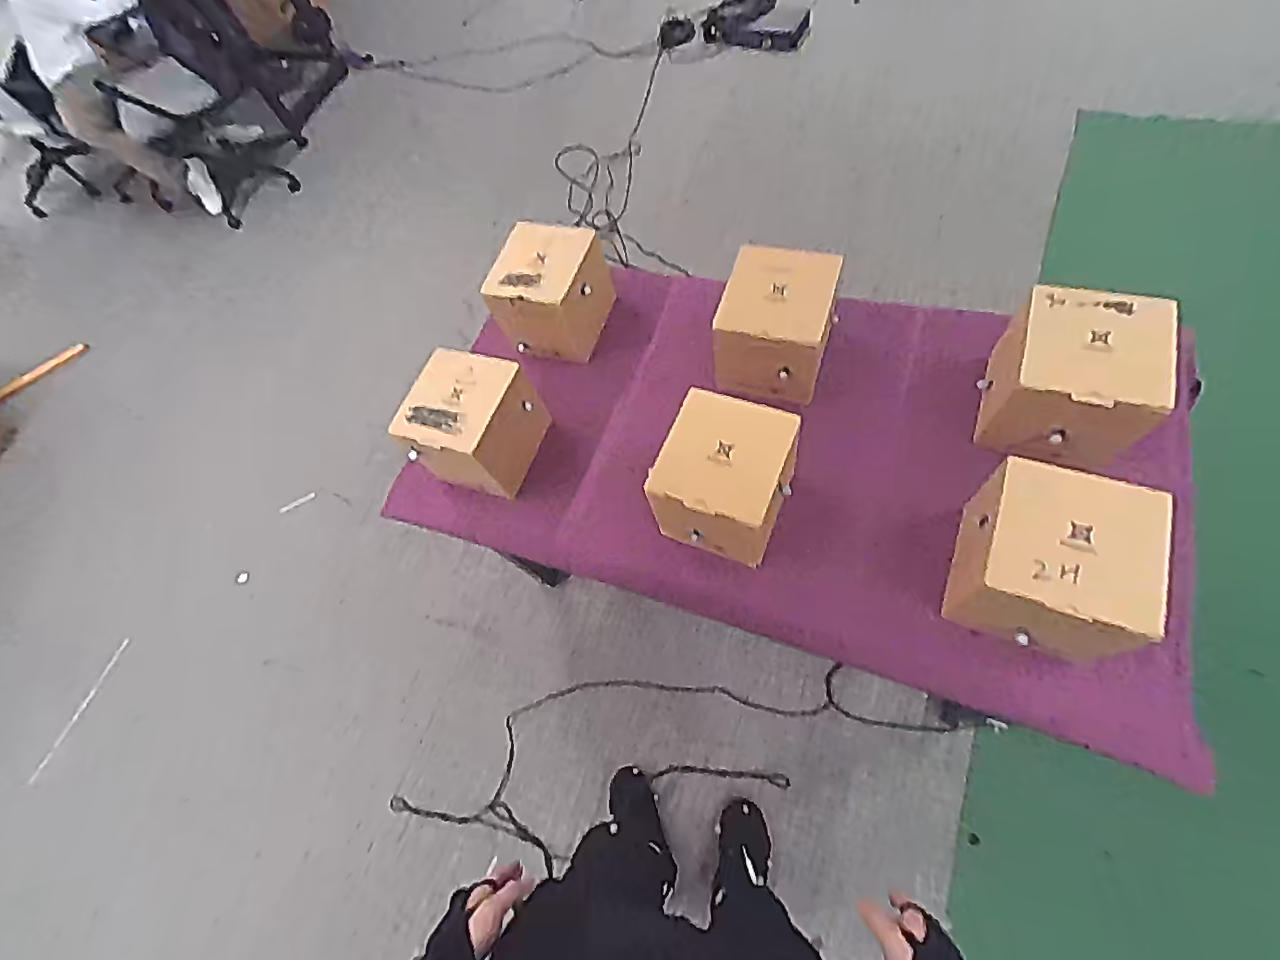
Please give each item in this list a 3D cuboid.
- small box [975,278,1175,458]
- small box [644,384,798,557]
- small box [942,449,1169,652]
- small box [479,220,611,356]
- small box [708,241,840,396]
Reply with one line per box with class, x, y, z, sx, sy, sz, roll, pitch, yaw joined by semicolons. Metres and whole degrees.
small box;0.601;-0.152;0.768;0.168;0.176;0.179;15;71;19
small box;0.124;-0.009;0.807;0.168;0.176;0.179;18;70;19
small box;0.500;0.092;0.673;0.168;0.176;0.179;17;70;21
small box;-0.169;-0.360;1.031;0.168;0.176;0.179;13;69;17
small box;0.223;-0.264;0.903;0.168;0.176;0.179;15;70;18
